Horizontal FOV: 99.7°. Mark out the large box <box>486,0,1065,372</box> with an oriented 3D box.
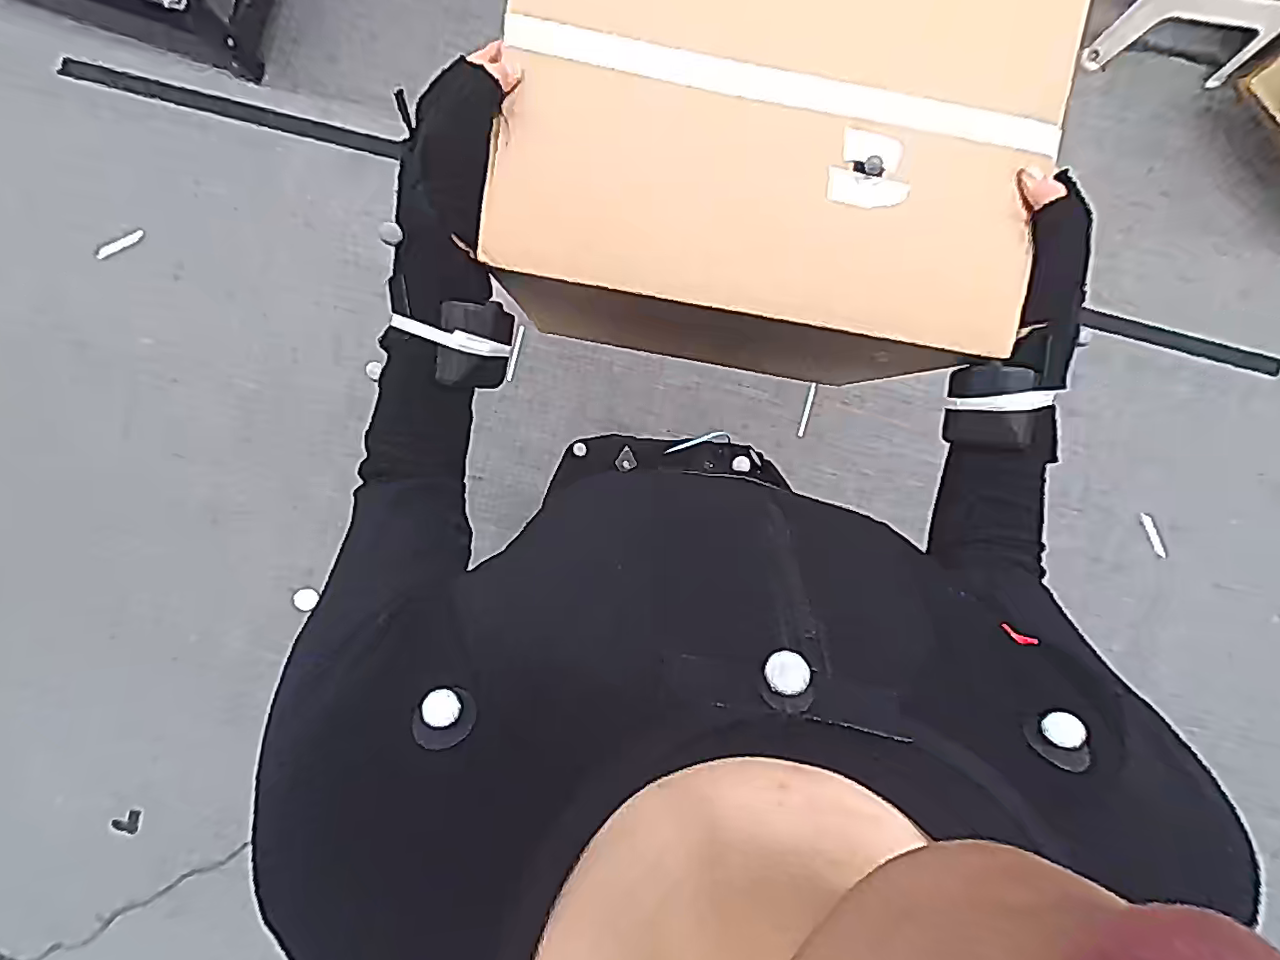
[{"bbox_3d":[0.092,-0.303,0.543,0.408,0.320,0.320,9,97,-5],"label":"large box"}]
